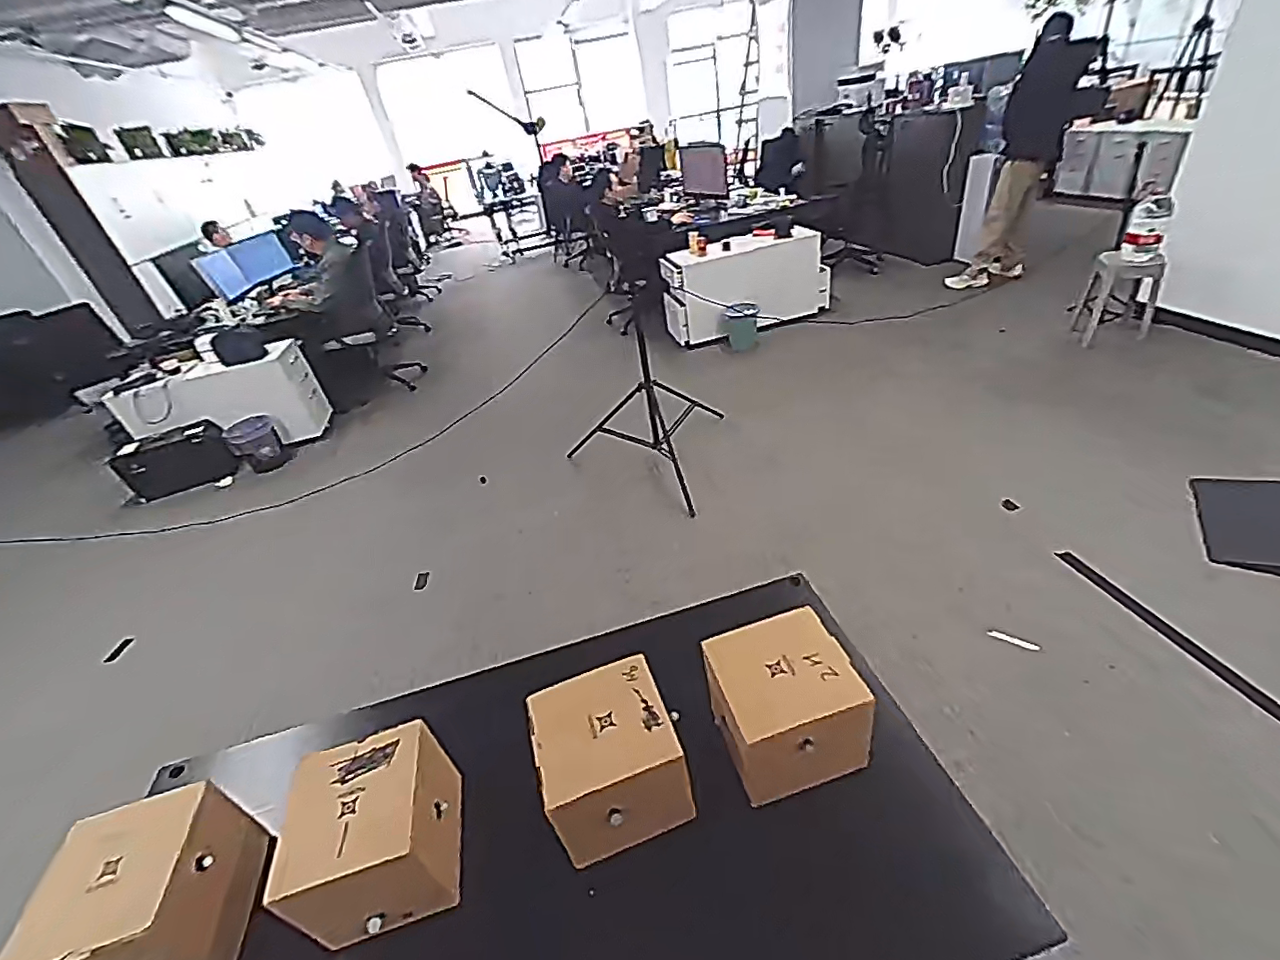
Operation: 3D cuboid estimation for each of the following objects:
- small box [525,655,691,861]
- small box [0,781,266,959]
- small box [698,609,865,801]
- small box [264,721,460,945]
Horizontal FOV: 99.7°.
[{"bbox_3d":[-0.044,0.387,0.756,0.179,0.176,0.168,-18,35,-10],"label":"small box"},{"bbox_3d":[-0.627,0.539,0.698,0.168,0.176,0.179,-15,34,-9],"label":"small box"},{"bbox_3d":[0.198,0.323,0.779,0.179,0.176,0.168,-16,35,-7],"label":"small box"},{"bbox_3d":[-0.350,0.467,0.724,0.168,0.176,0.179,-16,35,-7],"label":"small box"}]
